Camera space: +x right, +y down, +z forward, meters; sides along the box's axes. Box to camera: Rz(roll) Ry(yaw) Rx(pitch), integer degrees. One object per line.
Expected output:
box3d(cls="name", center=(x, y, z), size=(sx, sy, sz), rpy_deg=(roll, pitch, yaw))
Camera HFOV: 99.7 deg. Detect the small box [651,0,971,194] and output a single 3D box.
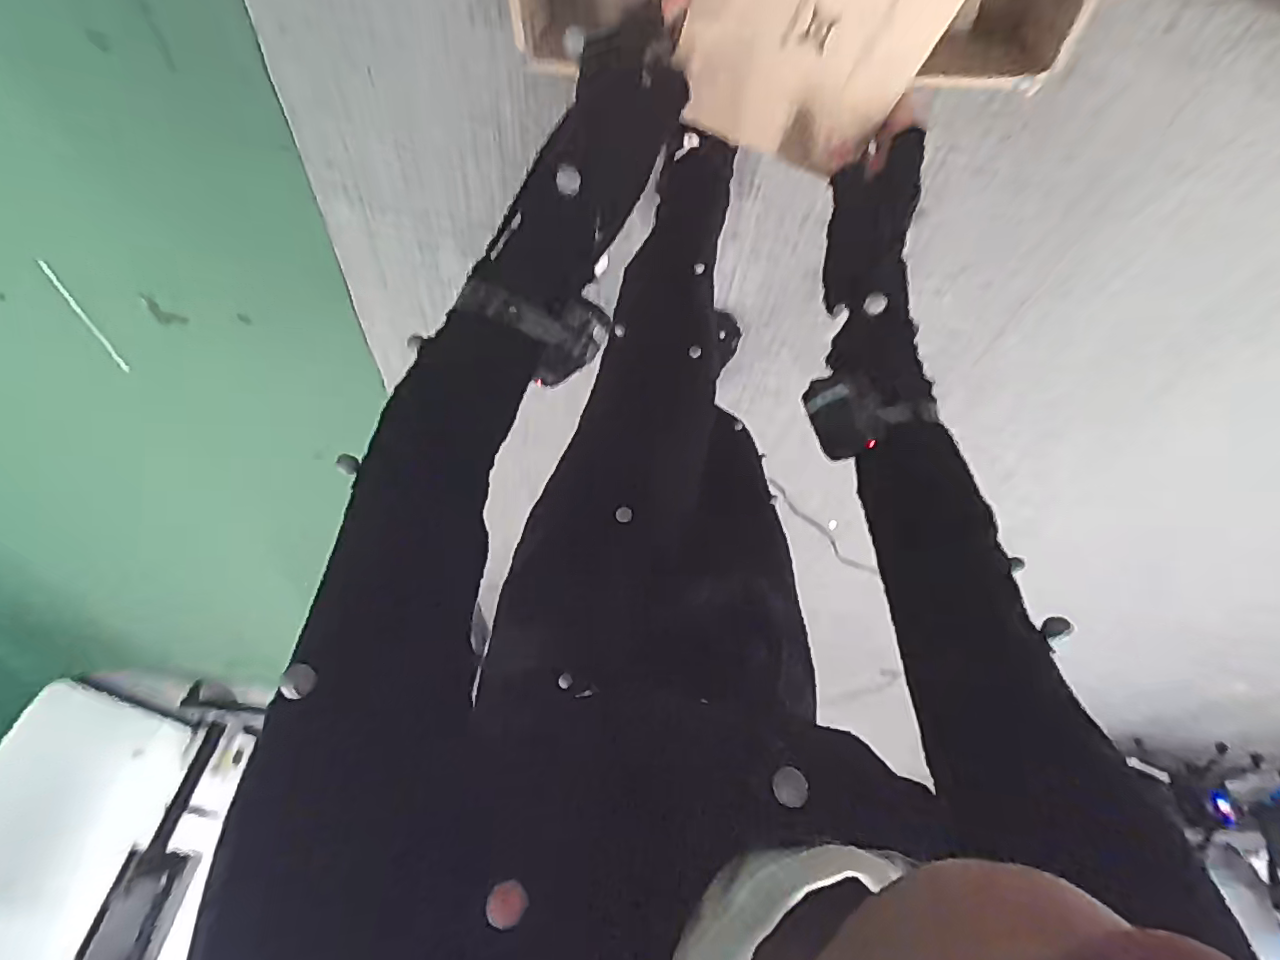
box3d(cls="small box", center=(0.116, -0.367, 0.420), size=(0.179, 0.176, 0.168), rpy_deg=(9, 143, -18))
